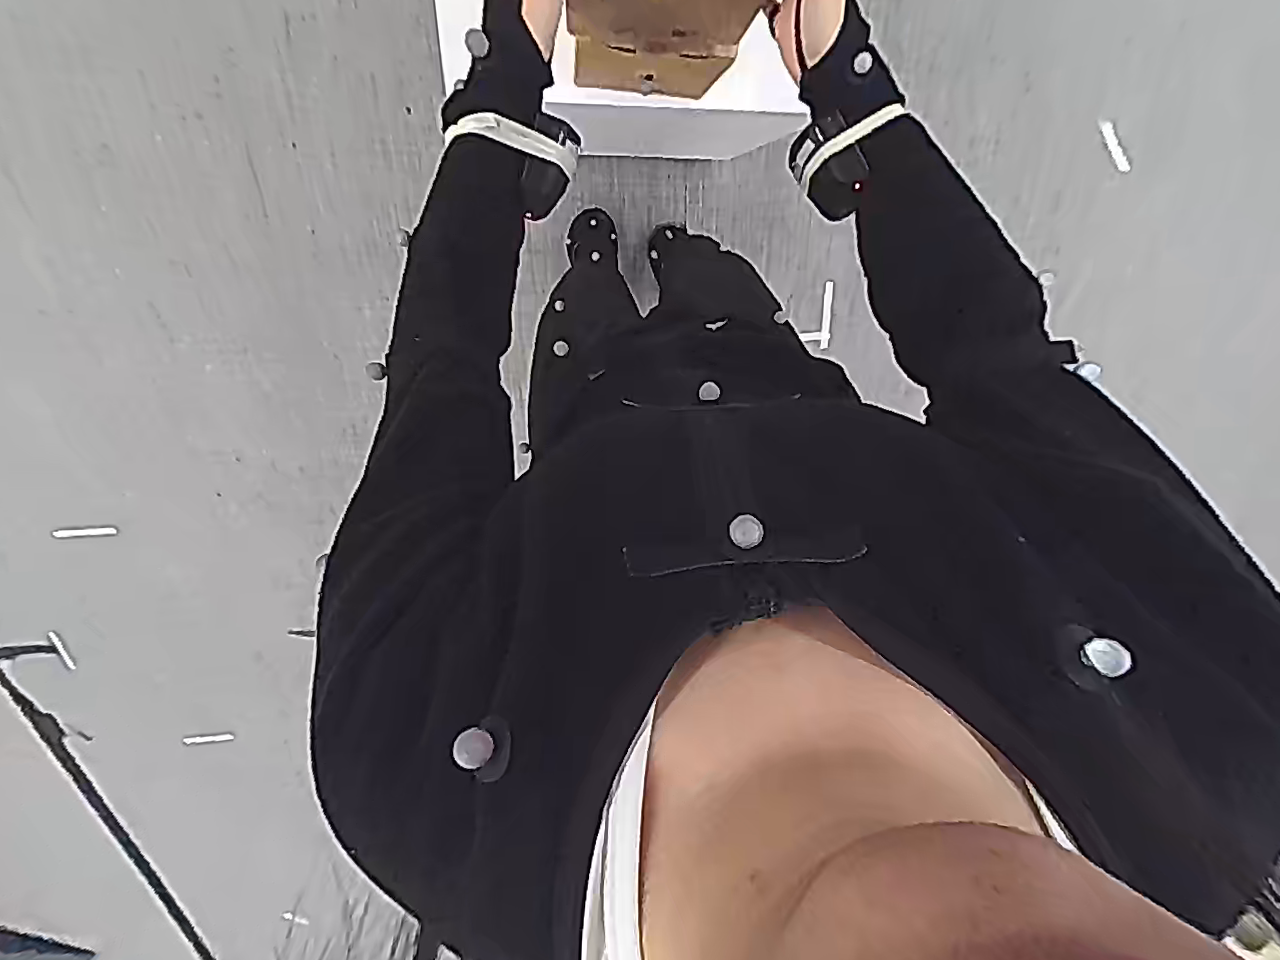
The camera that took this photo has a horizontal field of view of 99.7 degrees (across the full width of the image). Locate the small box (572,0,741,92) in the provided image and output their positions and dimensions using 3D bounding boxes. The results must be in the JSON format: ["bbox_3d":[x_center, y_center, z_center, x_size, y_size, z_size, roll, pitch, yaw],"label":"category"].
[{"bbox_3d":[0.013,-0.538,0.576,0.168,0.176,0.179,0,115,-8],"label":"small box"}]
